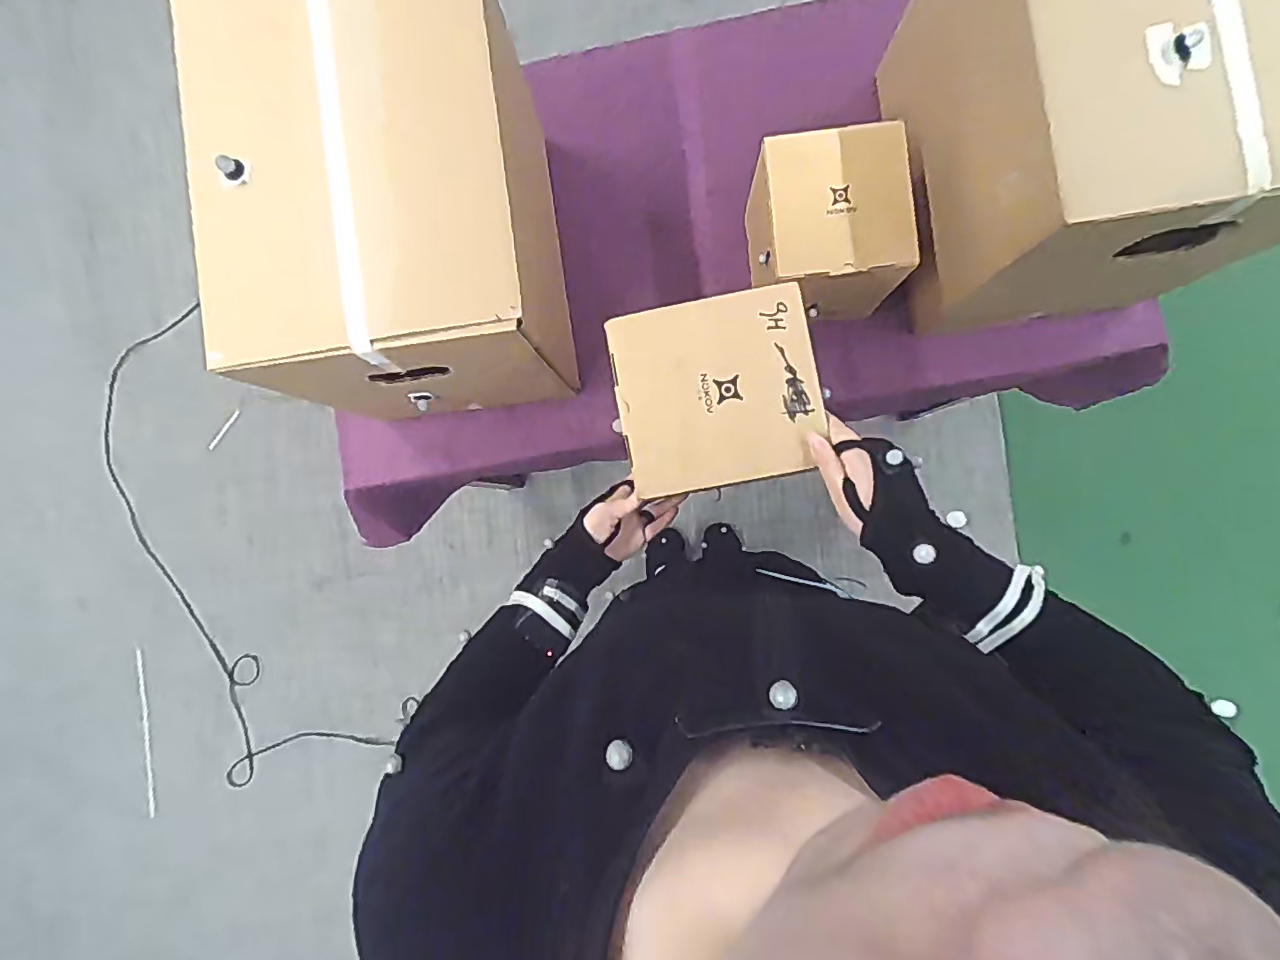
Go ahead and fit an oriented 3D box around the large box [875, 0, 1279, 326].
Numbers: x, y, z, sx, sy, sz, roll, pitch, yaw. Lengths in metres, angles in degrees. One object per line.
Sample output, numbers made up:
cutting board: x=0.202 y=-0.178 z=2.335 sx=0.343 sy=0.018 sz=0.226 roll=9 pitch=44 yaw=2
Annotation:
large box: x=0.514 y=-0.441 z=0.641 sx=0.320 sy=0.320 sz=0.408 roll=-7 pitch=88 yaw=3
